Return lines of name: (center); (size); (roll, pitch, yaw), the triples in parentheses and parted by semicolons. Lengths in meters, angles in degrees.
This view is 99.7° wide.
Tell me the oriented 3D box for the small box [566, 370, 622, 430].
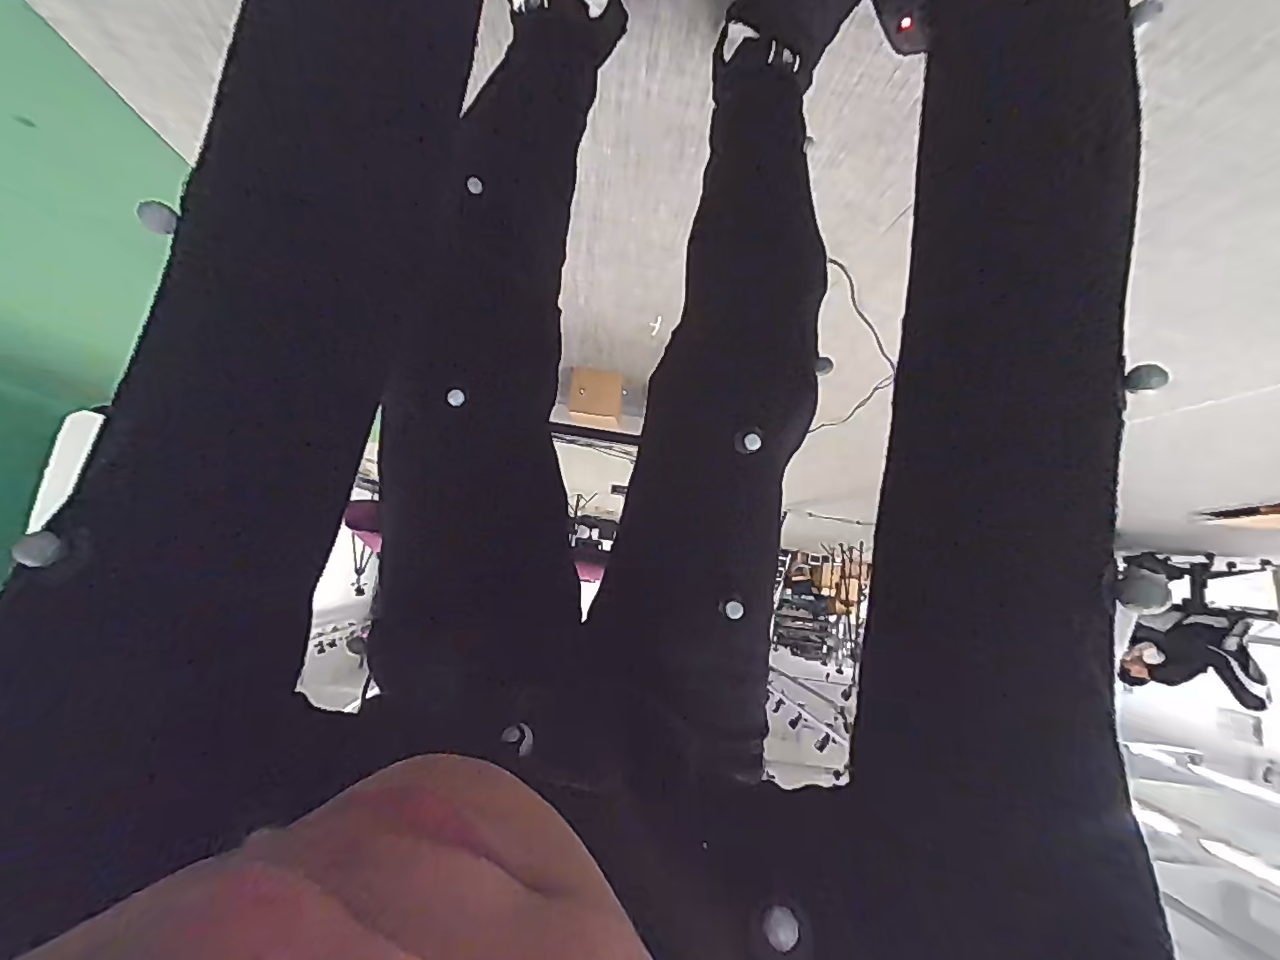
small box: (-0.163, -0.293, 1.974); (0.179, 0.176, 0.168); (7, 172, 1)
